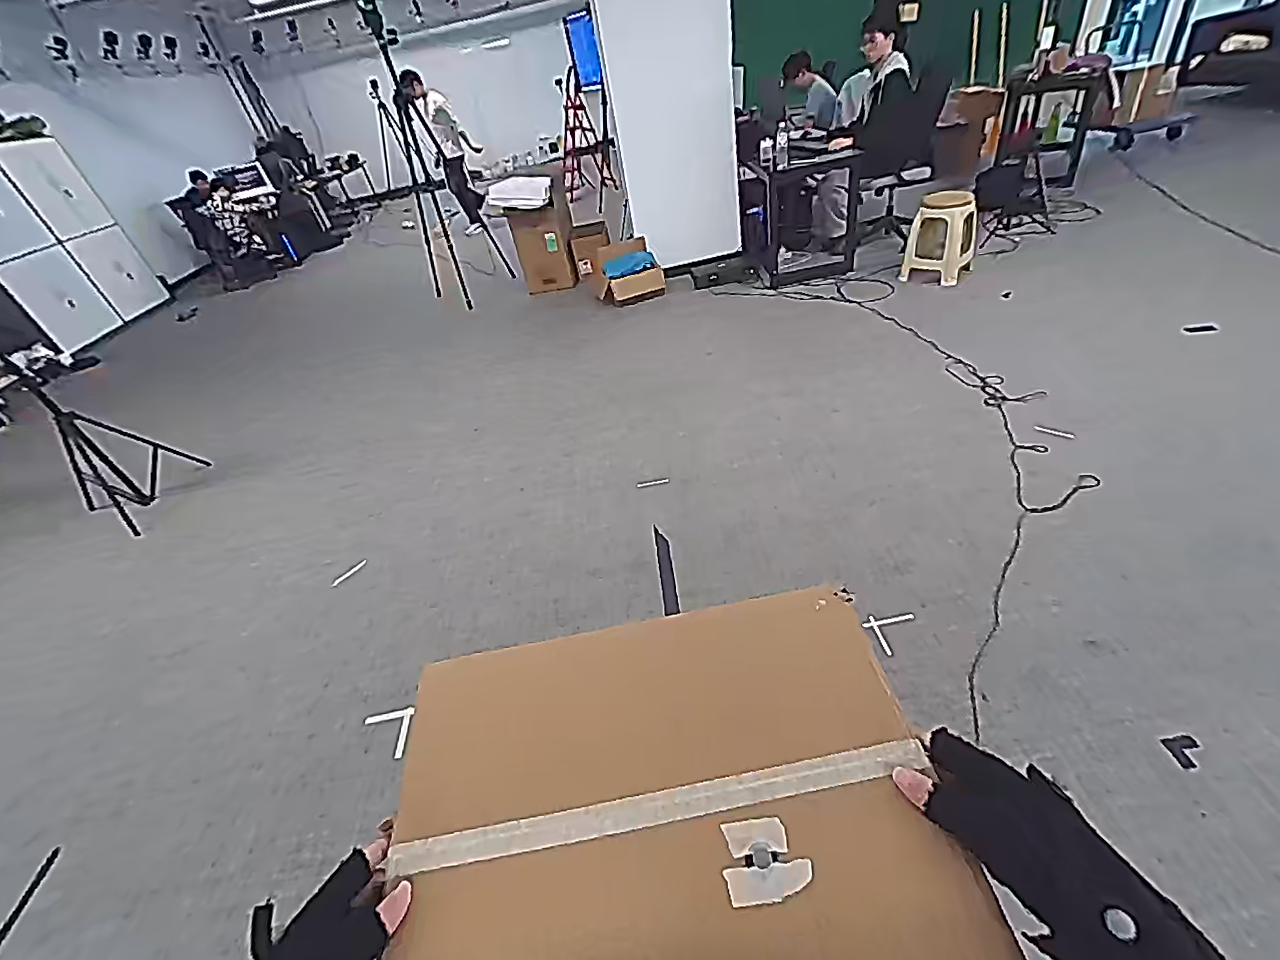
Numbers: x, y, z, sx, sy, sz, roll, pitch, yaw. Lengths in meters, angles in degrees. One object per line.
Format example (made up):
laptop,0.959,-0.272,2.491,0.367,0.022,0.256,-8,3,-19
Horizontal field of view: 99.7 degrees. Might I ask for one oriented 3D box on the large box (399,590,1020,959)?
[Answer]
large box,0.038,0.356,0.519,0.408,0.320,0.320,-11,45,-1
